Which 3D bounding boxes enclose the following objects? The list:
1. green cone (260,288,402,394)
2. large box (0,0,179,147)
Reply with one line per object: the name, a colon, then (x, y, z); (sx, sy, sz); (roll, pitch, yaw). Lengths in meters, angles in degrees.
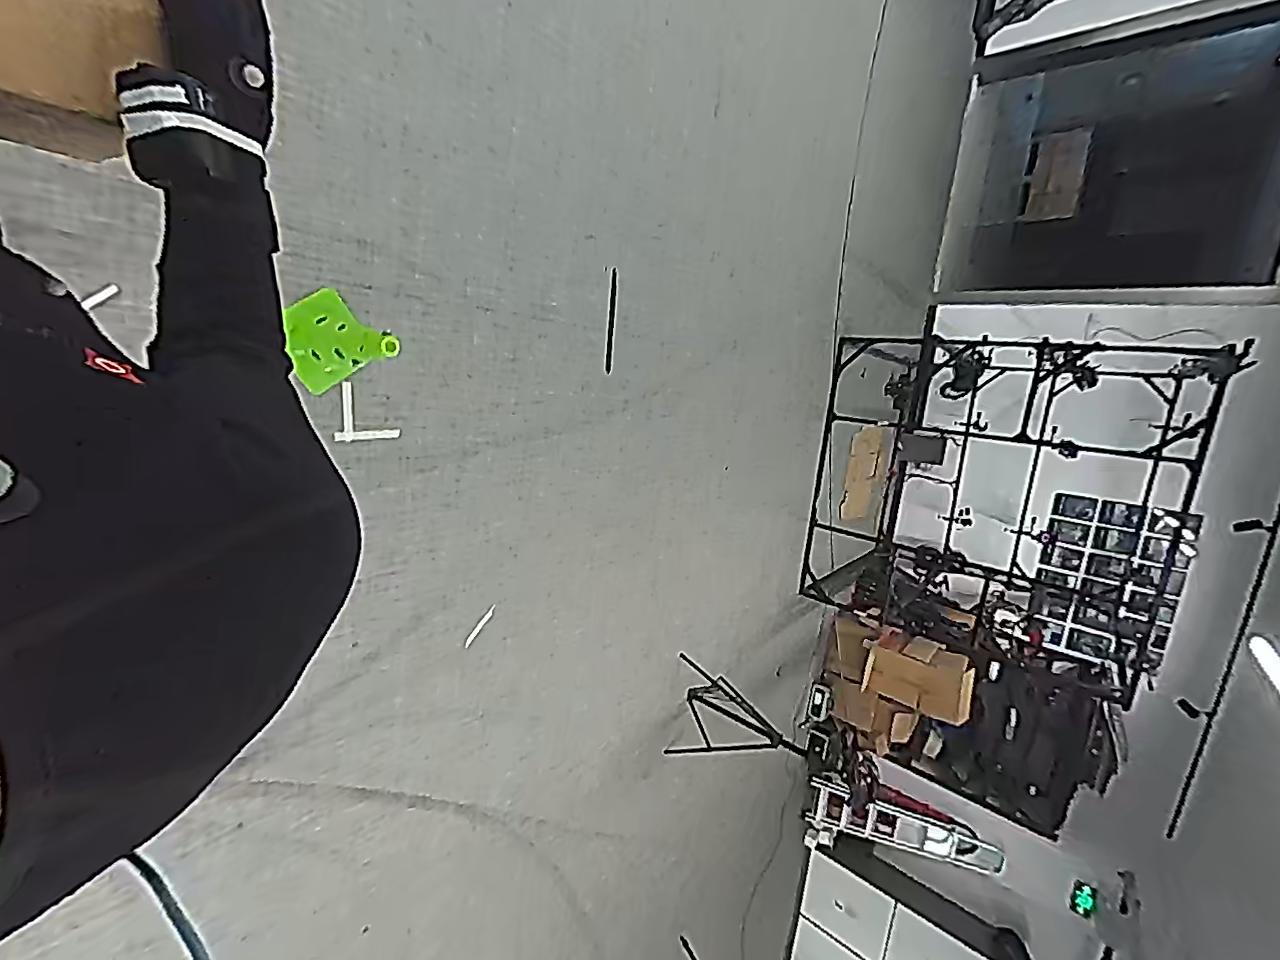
green cone: (-0.659, -0.311, 1.236); (0.202, 0.368, 0.200); (-51, 137, -31)
large box: (-0.557, -0.427, 0.292); (0.408, 0.320, 0.320); (-9, 115, -52)
